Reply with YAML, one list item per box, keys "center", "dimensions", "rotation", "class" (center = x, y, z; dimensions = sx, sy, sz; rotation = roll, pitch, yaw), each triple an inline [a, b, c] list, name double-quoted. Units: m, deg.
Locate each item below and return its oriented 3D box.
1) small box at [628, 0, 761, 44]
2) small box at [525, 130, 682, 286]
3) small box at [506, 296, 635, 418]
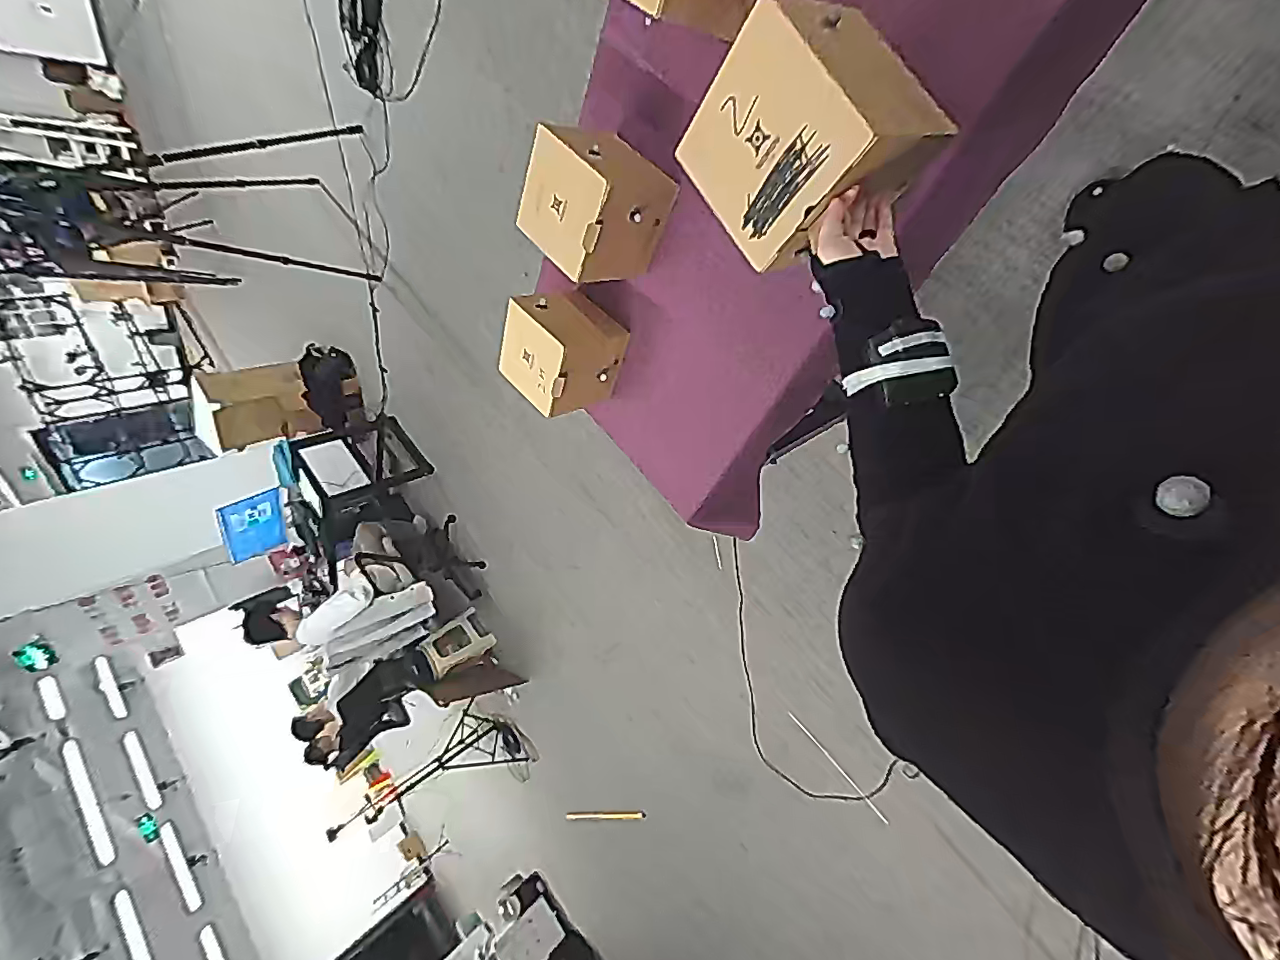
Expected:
- center: [0.058, -0.681, 0.671]
  dimensions: [0.179, 0.176, 0.168]
  rotation: [47, 136, 20]
  class: "small box"
- center: [-0.060, -0.454, 0.908]
  dimensions: [0.179, 0.176, 0.168]
  rotation: [49, 136, 19]
  class: "small box"
- center: [-0.142, -0.255, 1.090]
  dimensions: [0.179, 0.176, 0.168]
  rotation: [44, 135, 22]
  class: "small box"
